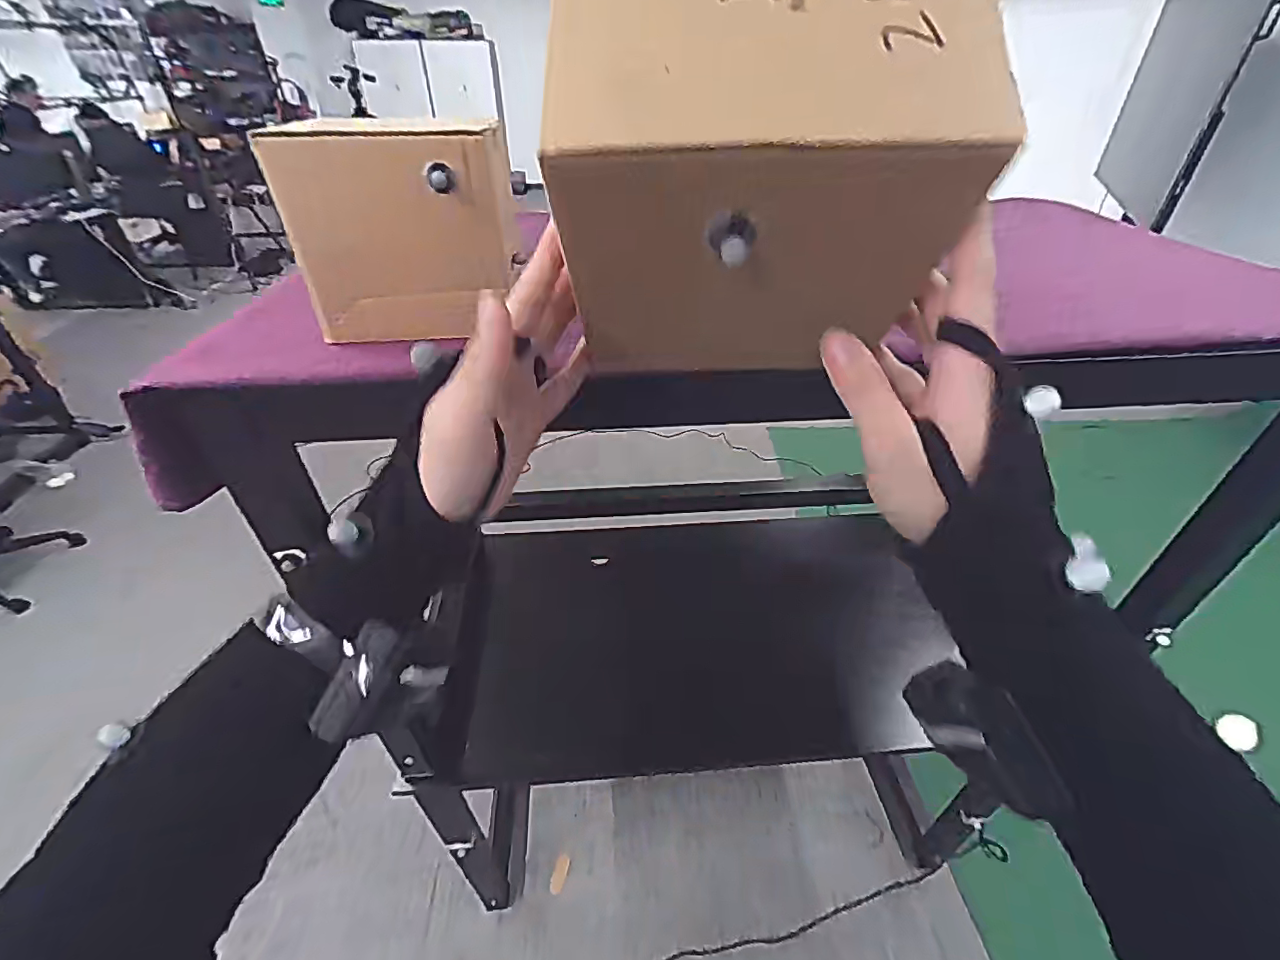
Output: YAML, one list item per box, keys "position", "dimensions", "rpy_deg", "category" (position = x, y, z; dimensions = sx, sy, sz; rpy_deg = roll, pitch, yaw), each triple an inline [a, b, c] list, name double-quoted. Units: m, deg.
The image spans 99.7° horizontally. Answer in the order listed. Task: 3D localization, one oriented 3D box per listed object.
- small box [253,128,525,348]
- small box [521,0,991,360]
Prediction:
- position: [-0.216, -0.236, 0.527]
  dimensions: [0.179, 0.176, 0.168]
  rpy_deg: [-4, 37, -5]
  category: "small box"
- position: [0.048, -0.177, 0.299]
  dimensions: [0.179, 0.176, 0.168]
  rpy_deg: [0, 74, 4]
  category: "small box"
